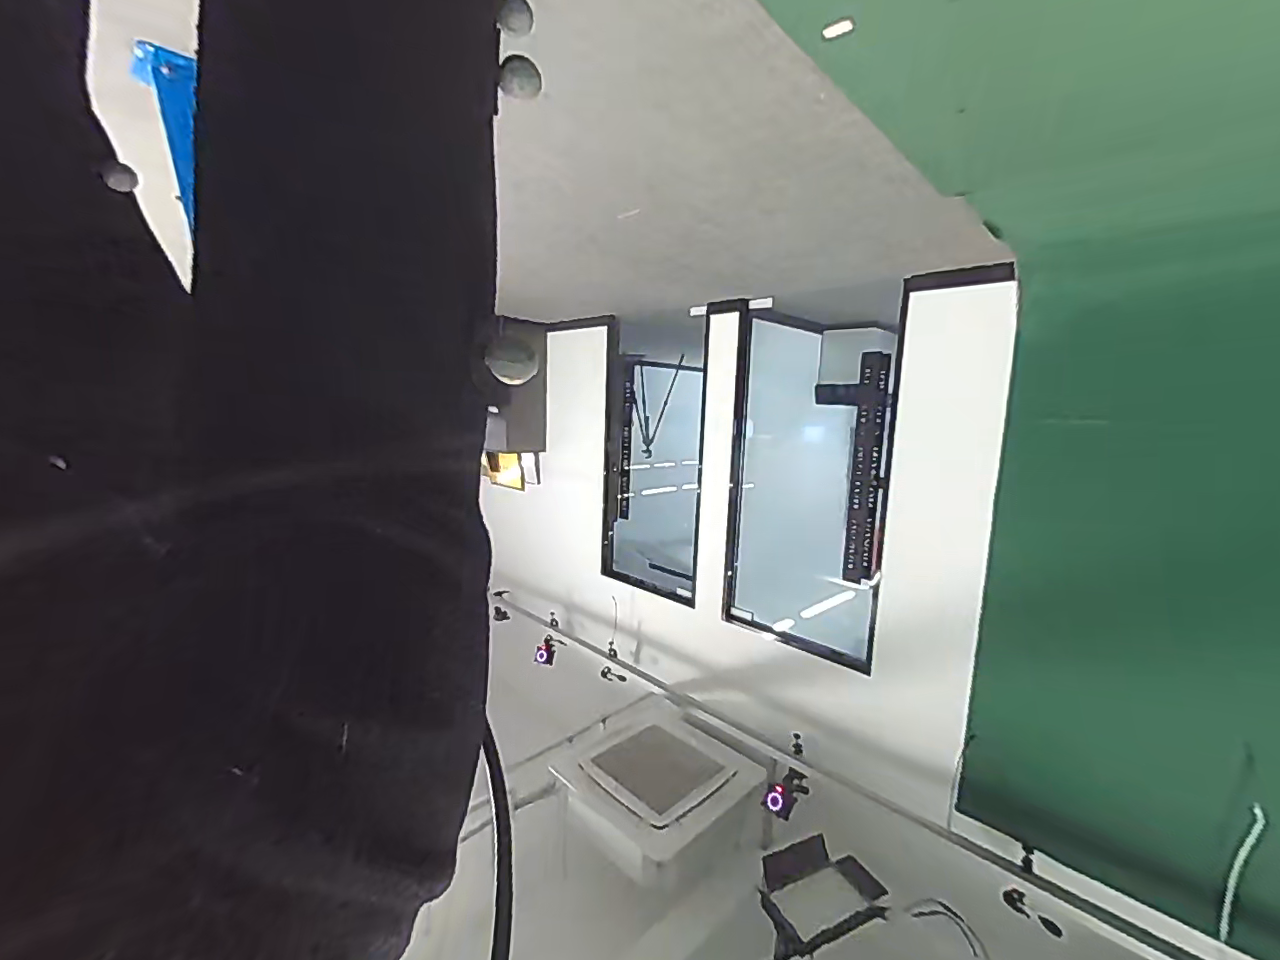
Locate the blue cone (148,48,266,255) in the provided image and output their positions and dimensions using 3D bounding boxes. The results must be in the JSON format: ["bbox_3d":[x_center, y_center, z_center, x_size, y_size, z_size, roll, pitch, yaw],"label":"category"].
[{"bbox_3d":[-0.946,-0.704,1.198,0.193,0.380,0.192,10,-168,44],"label":"blue cone"}]
